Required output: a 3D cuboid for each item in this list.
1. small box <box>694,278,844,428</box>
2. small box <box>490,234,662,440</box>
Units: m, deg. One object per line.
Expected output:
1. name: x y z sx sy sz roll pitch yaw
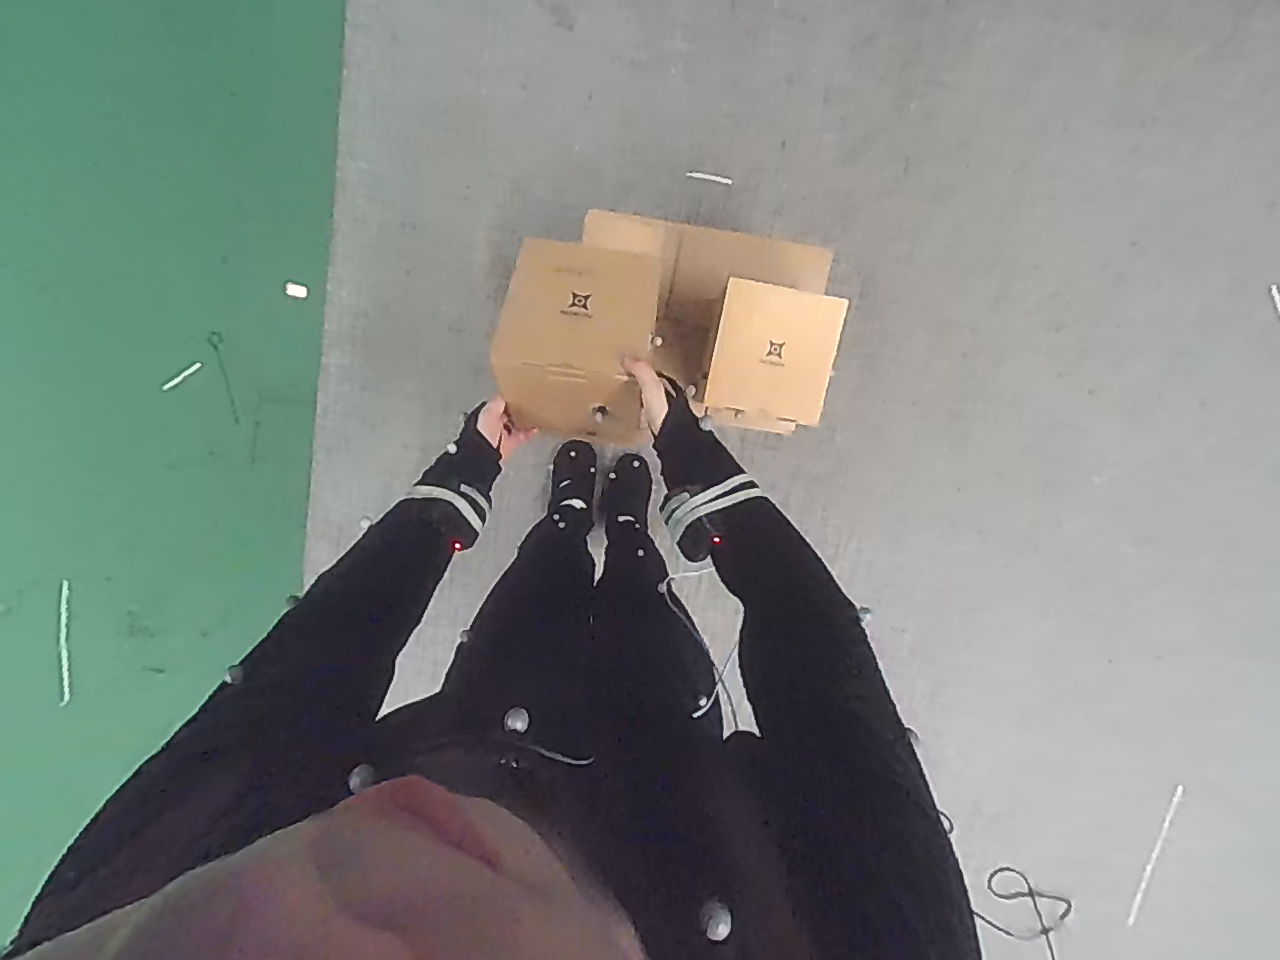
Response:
1. small box: 0.181 -0.187 0.819 0.168 0.176 0.179 12 101 -1
2. small box: -0.071 -0.169 0.681 0.168 0.176 0.179 10 67 0
